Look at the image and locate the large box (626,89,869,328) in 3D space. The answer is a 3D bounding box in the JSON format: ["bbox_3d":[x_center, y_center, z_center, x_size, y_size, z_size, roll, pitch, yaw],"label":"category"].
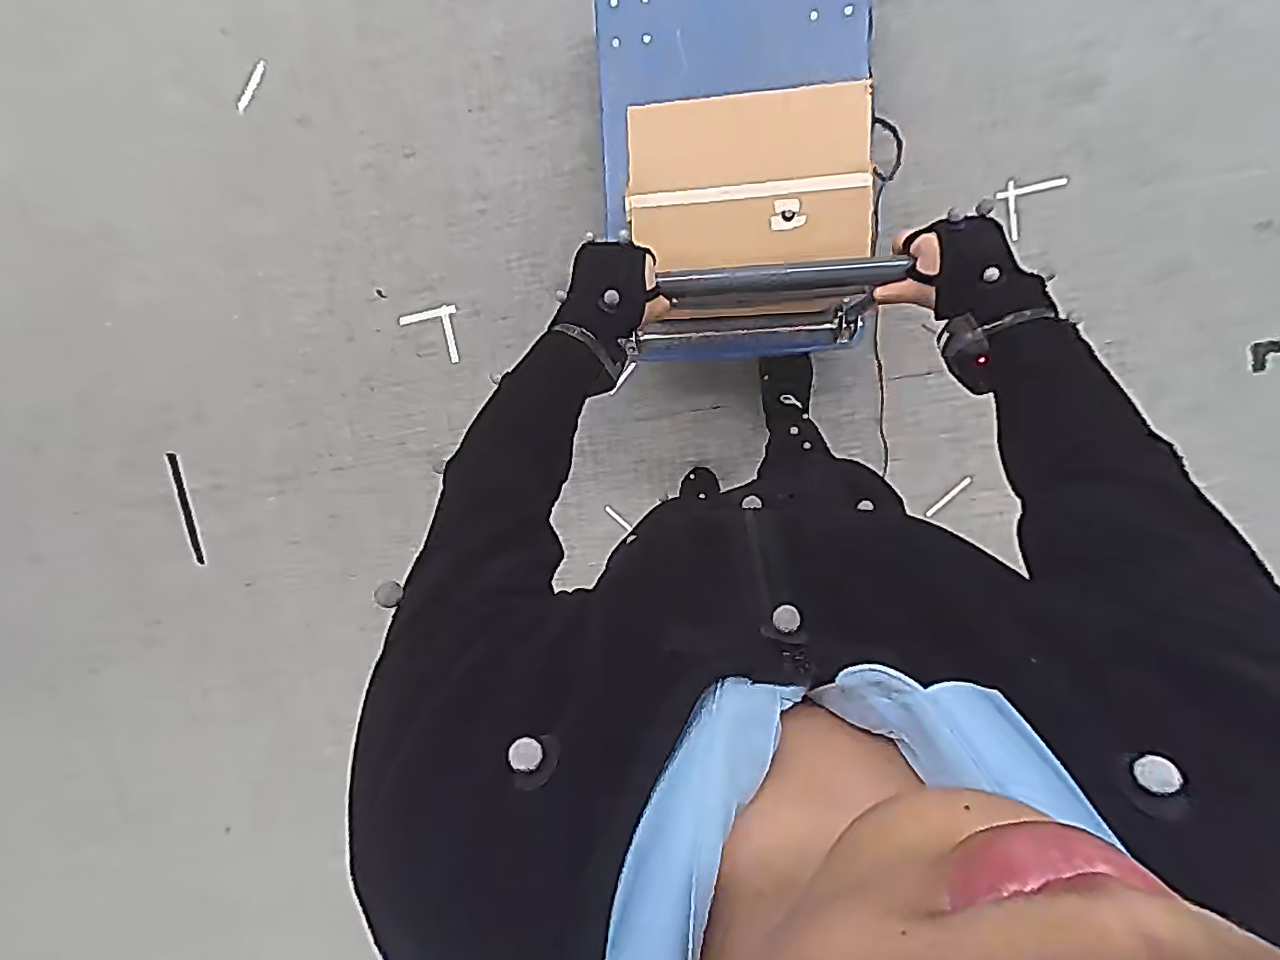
[{"bbox_3d":[0.196,-0.494,1.066,0.408,0.320,0.320,-2,98,7],"label":"large box"}]
